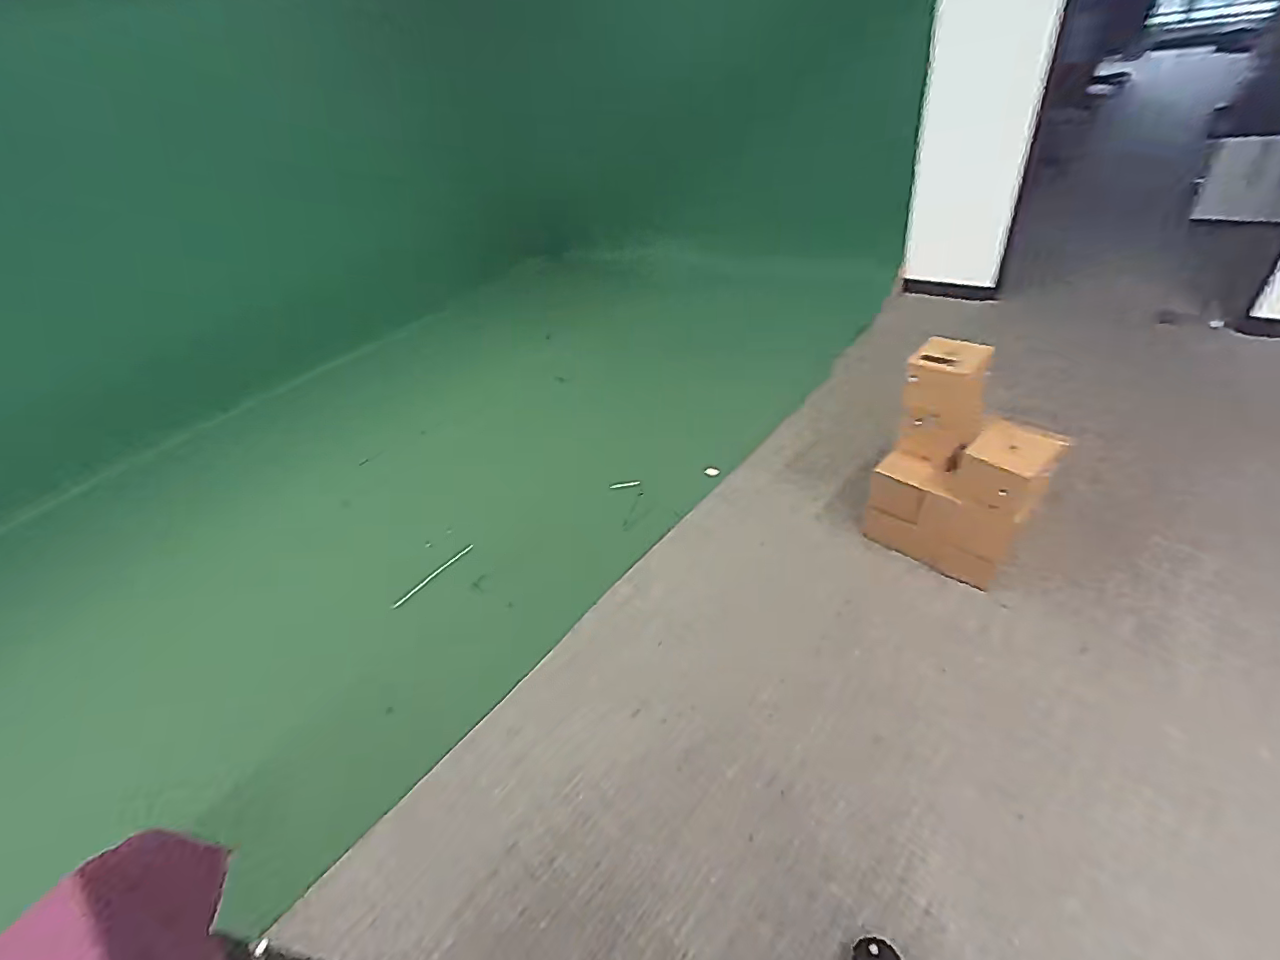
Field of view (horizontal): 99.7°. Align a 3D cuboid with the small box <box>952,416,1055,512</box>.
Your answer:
[{"bbox_3d":[0.984,-0.042,1.479,0.179,0.176,0.168,-35,46,-25],"label":"small box"}]

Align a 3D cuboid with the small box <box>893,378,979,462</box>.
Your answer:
[{"bbox_3d":[0.904,-0.185,1.665,0.179,0.176,0.168,-35,44,-26],"label":"small box"}]
